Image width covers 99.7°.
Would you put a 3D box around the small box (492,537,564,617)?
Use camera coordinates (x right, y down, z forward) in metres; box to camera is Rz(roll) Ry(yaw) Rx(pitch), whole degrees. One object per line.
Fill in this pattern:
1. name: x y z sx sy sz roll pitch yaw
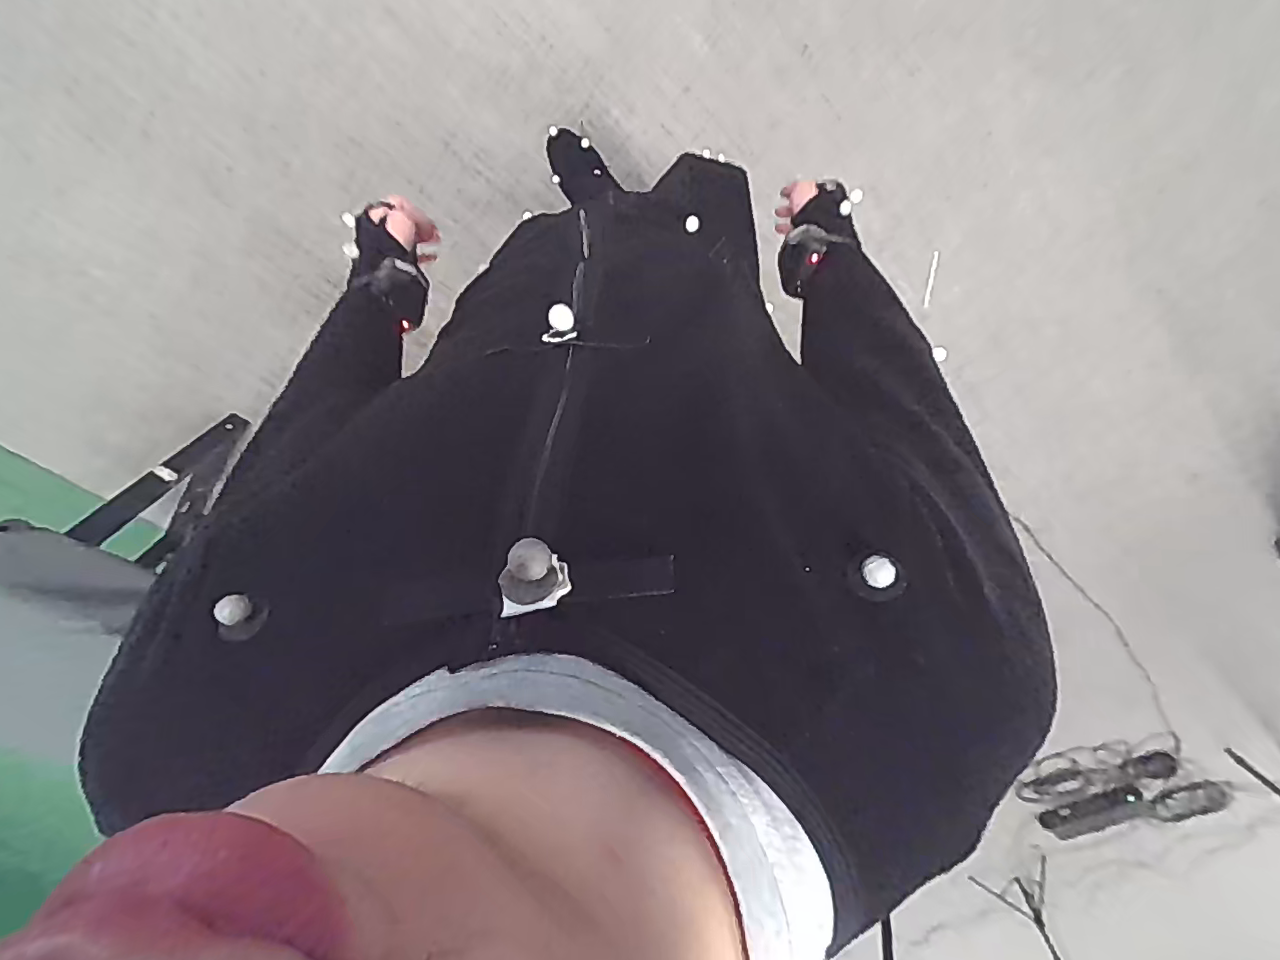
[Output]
1. small box: -0.378 0.329 1.863 0.179 0.176 0.168 -39 115 24
